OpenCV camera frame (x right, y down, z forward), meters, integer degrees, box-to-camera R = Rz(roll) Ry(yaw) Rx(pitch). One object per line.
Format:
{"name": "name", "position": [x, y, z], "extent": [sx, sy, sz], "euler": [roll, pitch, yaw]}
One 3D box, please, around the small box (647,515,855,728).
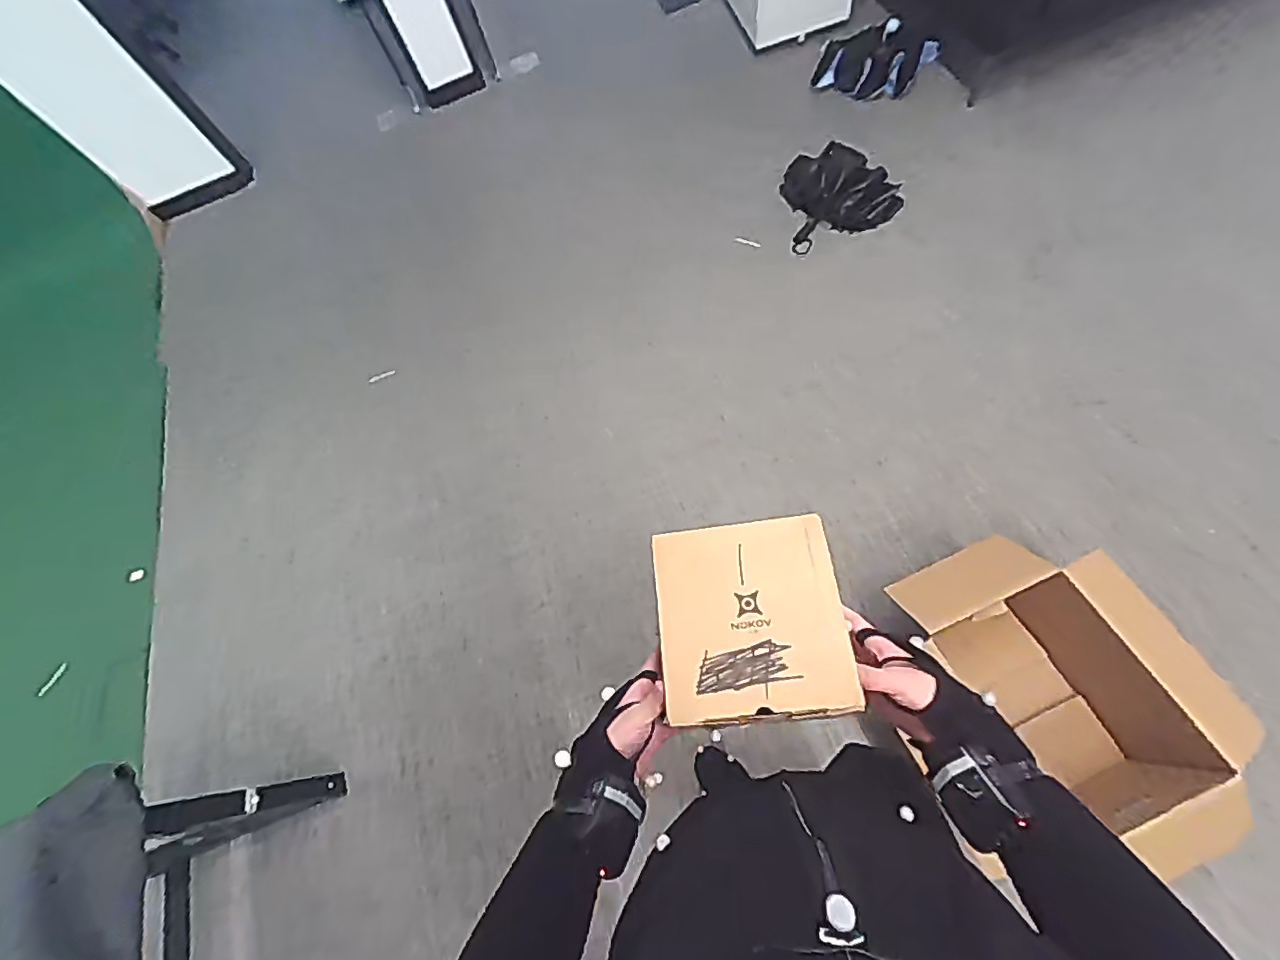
{"name": "small box", "position": [0.106, 0.155, 0.559], "extent": [0.168, 0.176, 0.179], "euler": [-8, 63, 7]}
